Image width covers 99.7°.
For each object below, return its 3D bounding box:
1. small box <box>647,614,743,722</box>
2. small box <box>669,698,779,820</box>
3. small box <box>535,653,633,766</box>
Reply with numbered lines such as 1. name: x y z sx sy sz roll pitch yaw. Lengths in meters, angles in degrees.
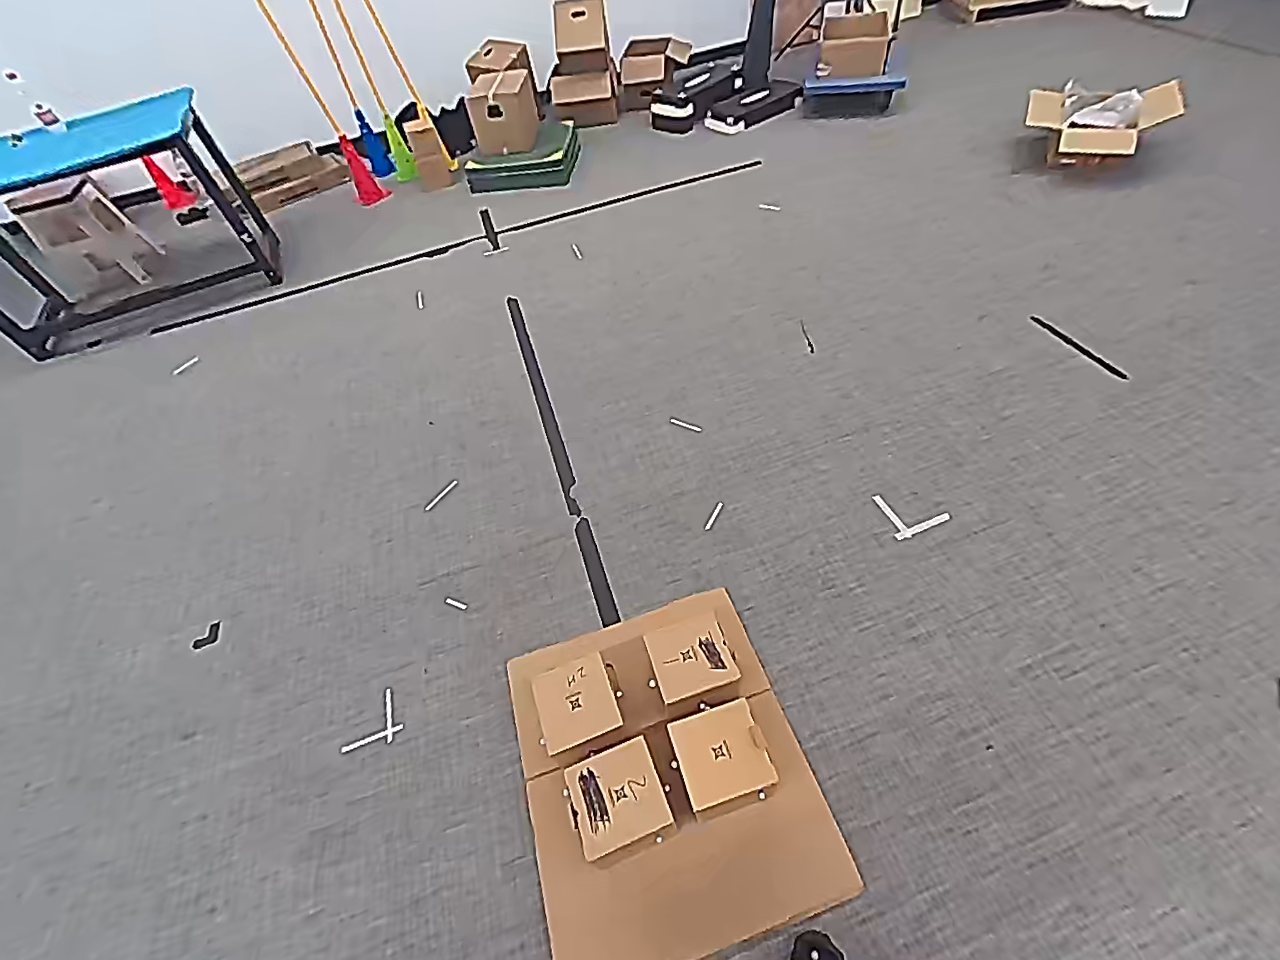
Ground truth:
1. small box: 0.126 0.442 1.261 0.179 0.176 0.168 -17 52 -5
2. small box: 0.172 0.588 1.132 0.179 0.176 0.168 -15 51 -6
3. small box: -0.123 0.528 1.230 0.168 0.176 0.179 -19 51 -7
